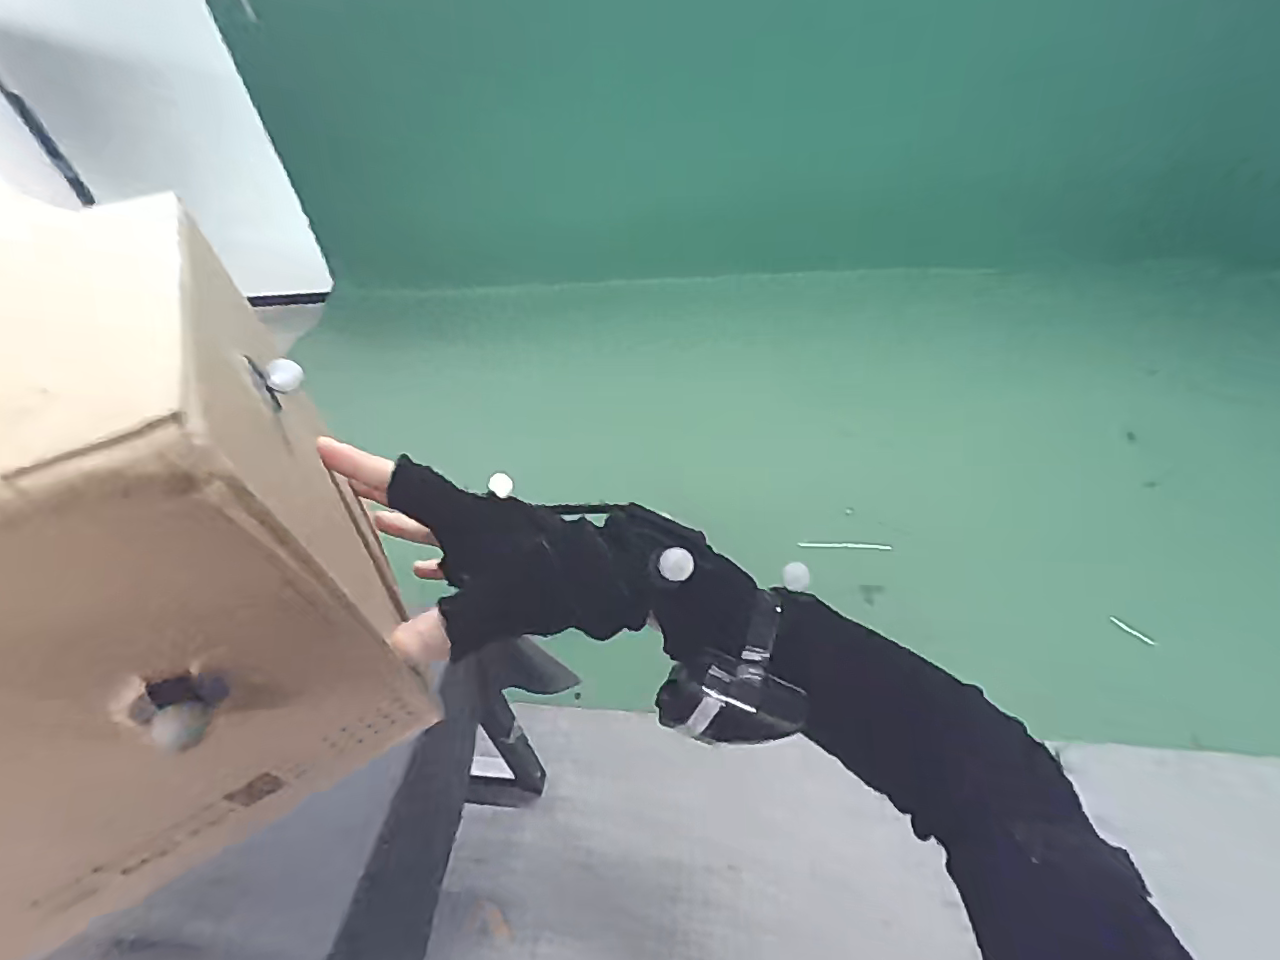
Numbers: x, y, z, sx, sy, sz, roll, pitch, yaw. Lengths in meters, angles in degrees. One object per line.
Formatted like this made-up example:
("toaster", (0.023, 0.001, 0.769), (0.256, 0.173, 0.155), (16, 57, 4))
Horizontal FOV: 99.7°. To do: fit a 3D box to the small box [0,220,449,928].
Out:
("small box", (-0.195, 0.032, 0.208), (0.168, 0.176, 0.179), (-26, 50, -19))
